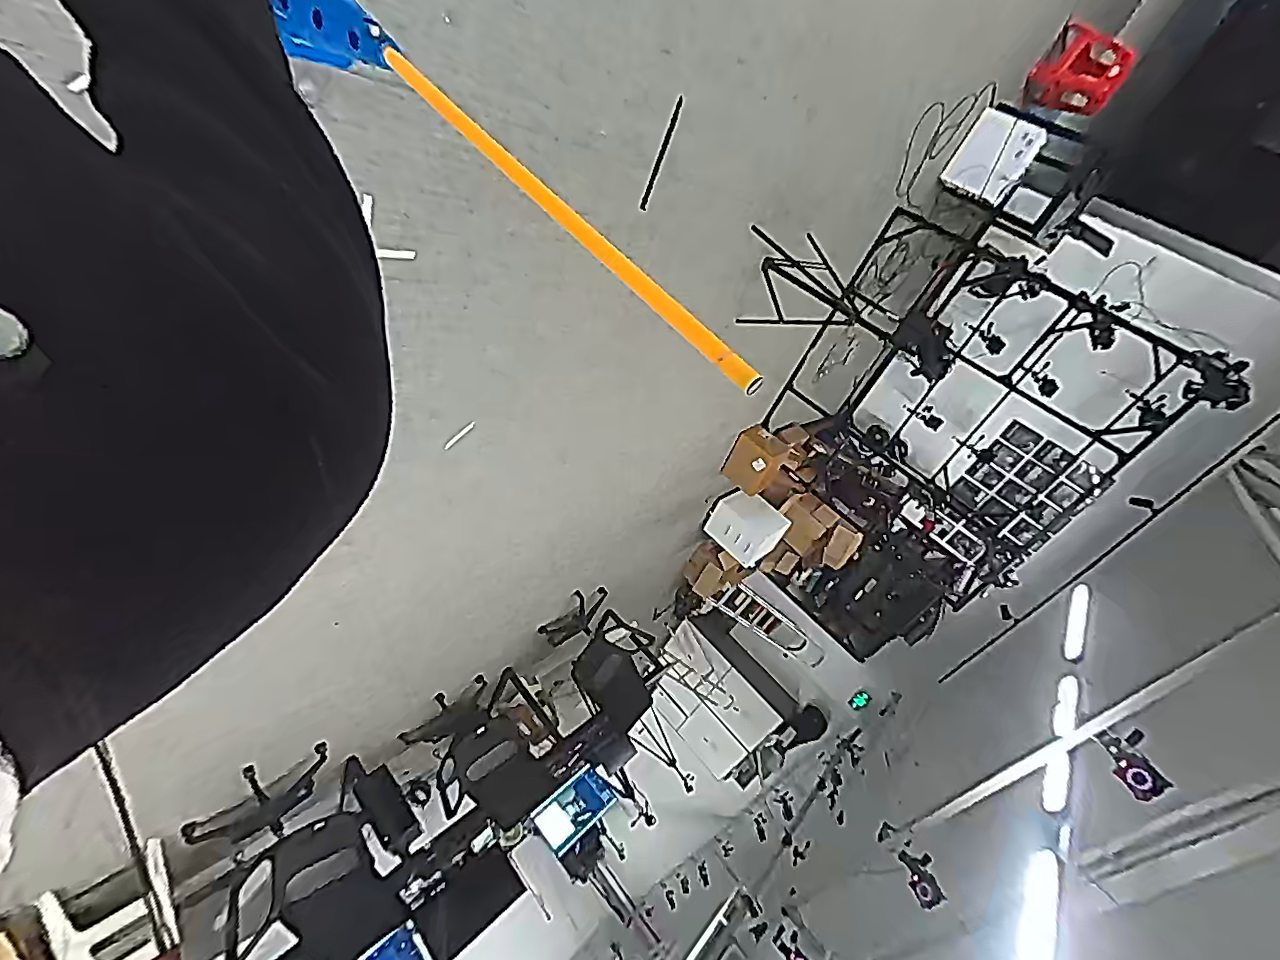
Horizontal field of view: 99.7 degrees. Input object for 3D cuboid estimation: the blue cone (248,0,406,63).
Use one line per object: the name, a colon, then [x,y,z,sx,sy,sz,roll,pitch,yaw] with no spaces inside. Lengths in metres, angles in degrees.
blue cone: [-0.522,-0.811,0.951,0.193,0.380,0.192,-23,146,-45]
